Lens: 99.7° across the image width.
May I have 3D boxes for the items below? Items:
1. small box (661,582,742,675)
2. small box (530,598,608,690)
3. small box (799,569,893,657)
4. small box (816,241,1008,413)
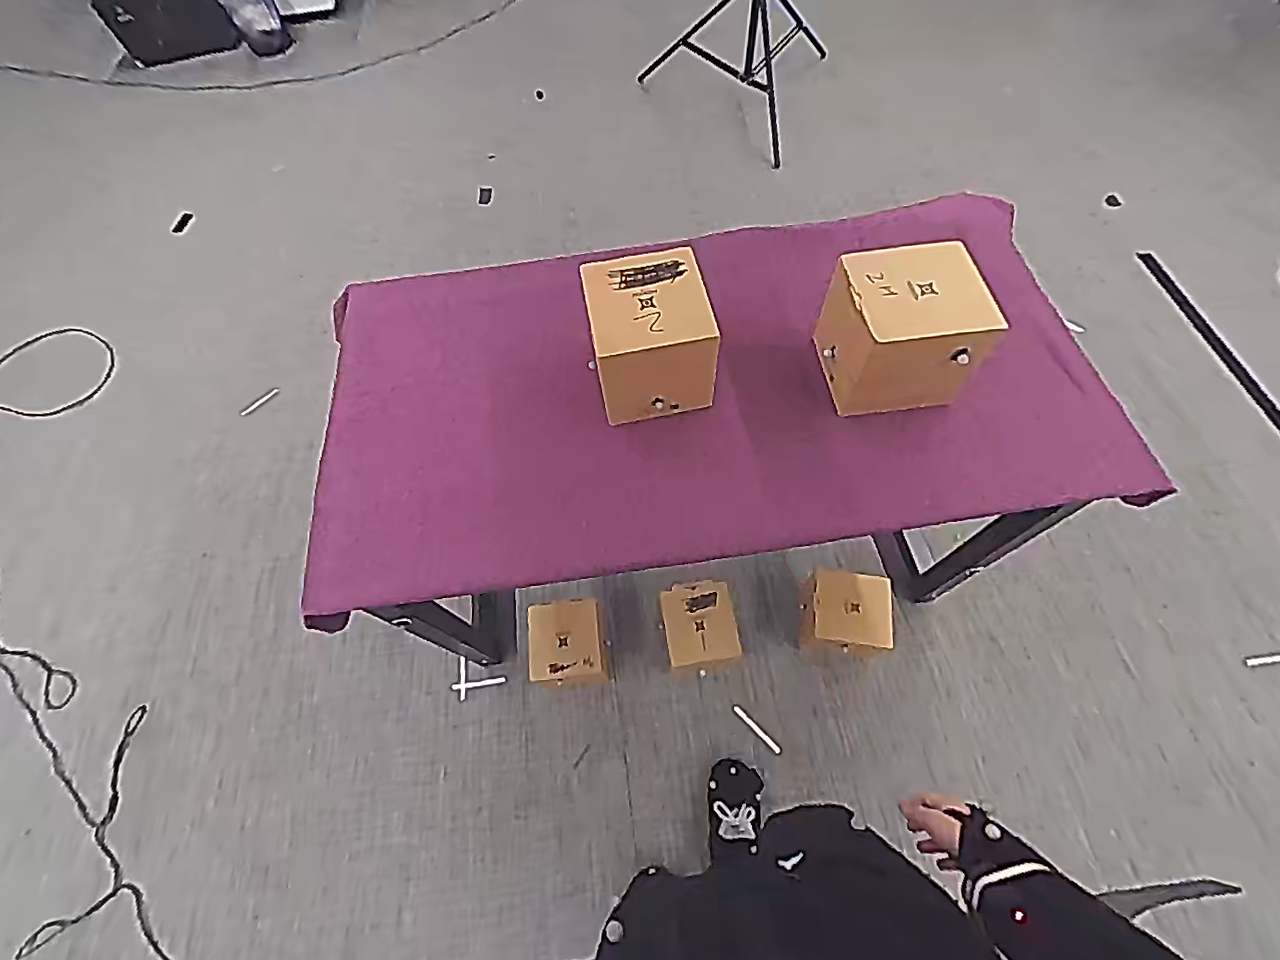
[{"bbox_3d":[0.144,0.367,1.326,0.168,0.176,0.179,-9,64,-1],"label":"small box"},{"bbox_3d":[-0.171,0.406,1.327,0.168,0.176,0.179,-6,61,0],"label":"small box"},{"bbox_3d":[0.499,0.331,1.324,0.179,0.176,0.168,6,64,8],"label":"small box"},{"bbox_3d":[0.378,-0.216,0.789,0.179,0.176,0.168,-7,62,1],"label":"small box"}]
